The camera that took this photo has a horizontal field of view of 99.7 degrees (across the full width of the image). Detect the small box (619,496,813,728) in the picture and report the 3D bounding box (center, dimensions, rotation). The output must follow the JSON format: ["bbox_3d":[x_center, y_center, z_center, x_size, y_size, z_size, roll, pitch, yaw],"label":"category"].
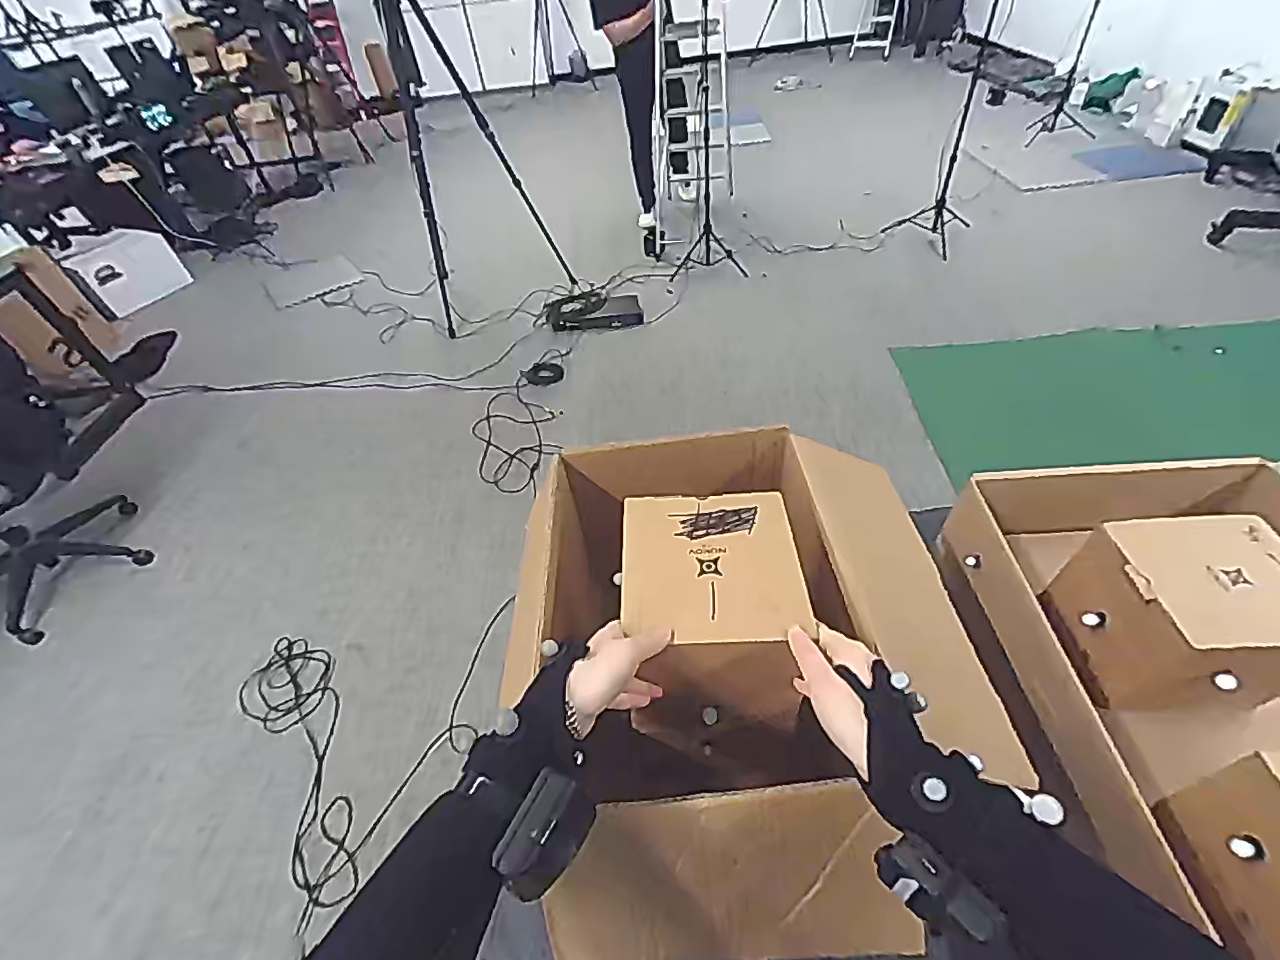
[{"bbox_3d":[0.069,0.137,0.567,0.168,0.176,0.179,-2,43,3],"label":"small box"}]
